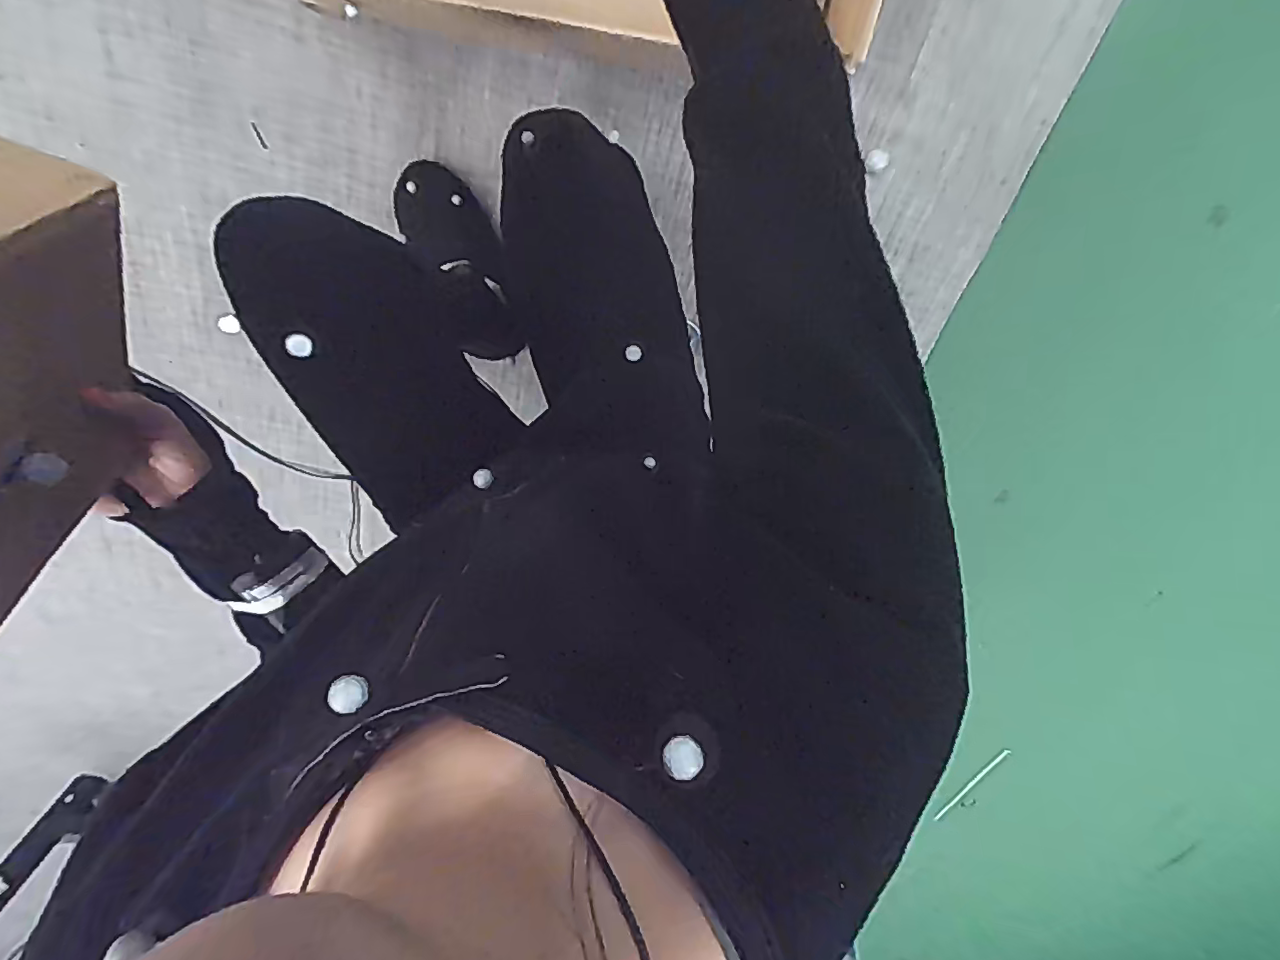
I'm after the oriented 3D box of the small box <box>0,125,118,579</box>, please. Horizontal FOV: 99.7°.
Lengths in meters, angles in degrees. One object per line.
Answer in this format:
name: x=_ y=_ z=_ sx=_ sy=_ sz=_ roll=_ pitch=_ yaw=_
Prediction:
small box: x=-0.333 y=-0.046 z=0.196 sx=0.168 sy=0.176 sz=0.179 roll=14 pitch=125 yaw=-28
